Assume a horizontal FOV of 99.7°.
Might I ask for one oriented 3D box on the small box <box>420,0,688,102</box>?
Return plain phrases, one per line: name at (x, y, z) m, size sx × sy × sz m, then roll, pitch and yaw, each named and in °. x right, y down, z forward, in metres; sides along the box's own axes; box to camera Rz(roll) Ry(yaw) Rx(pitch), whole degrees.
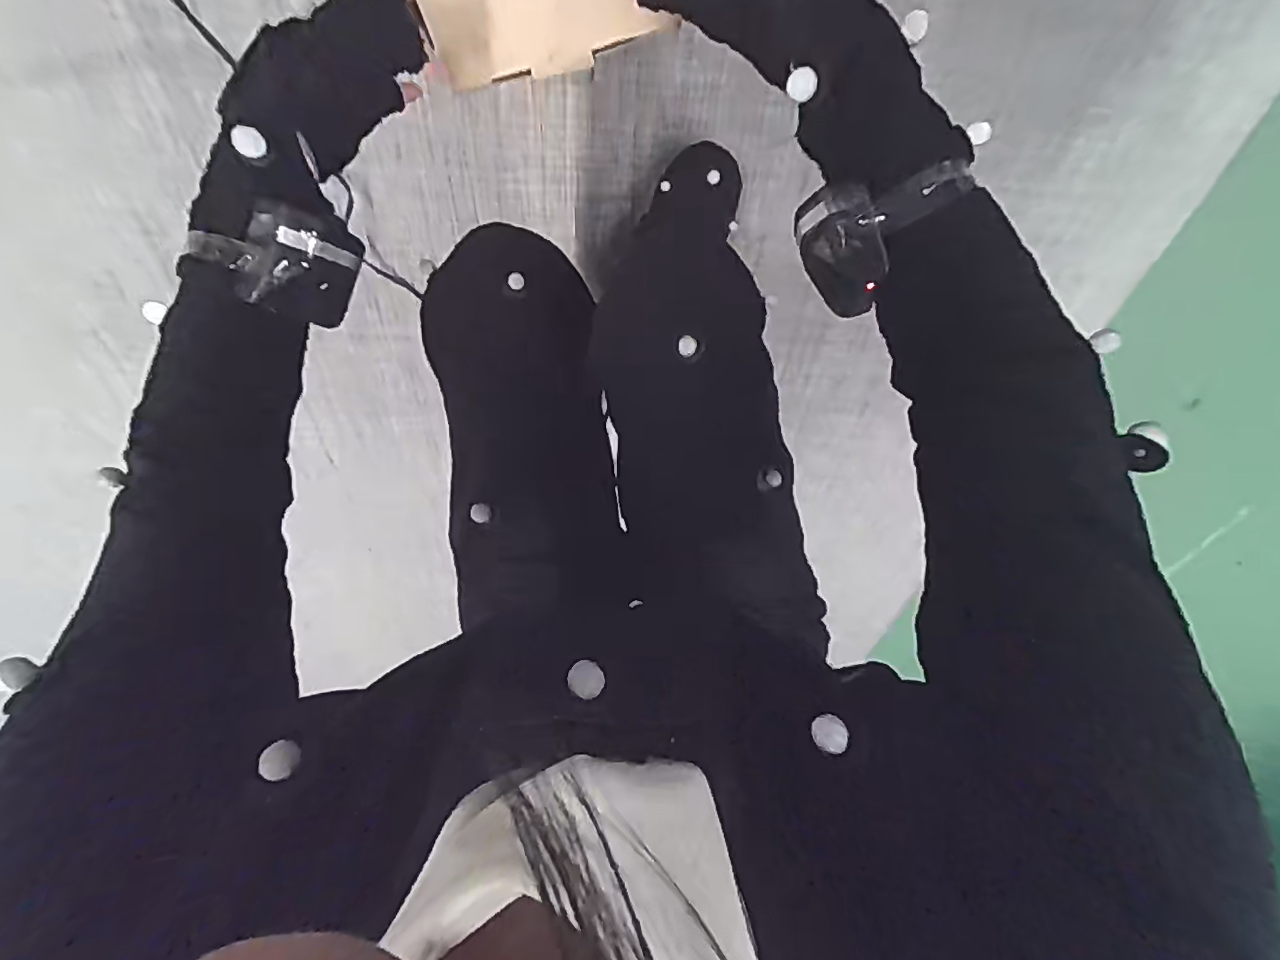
small box at (-0.061, -0.392, 0.369) m, size 0.168 × 0.176 × 0.179 m, roll -8°, pitch 129°, yaw 12°
